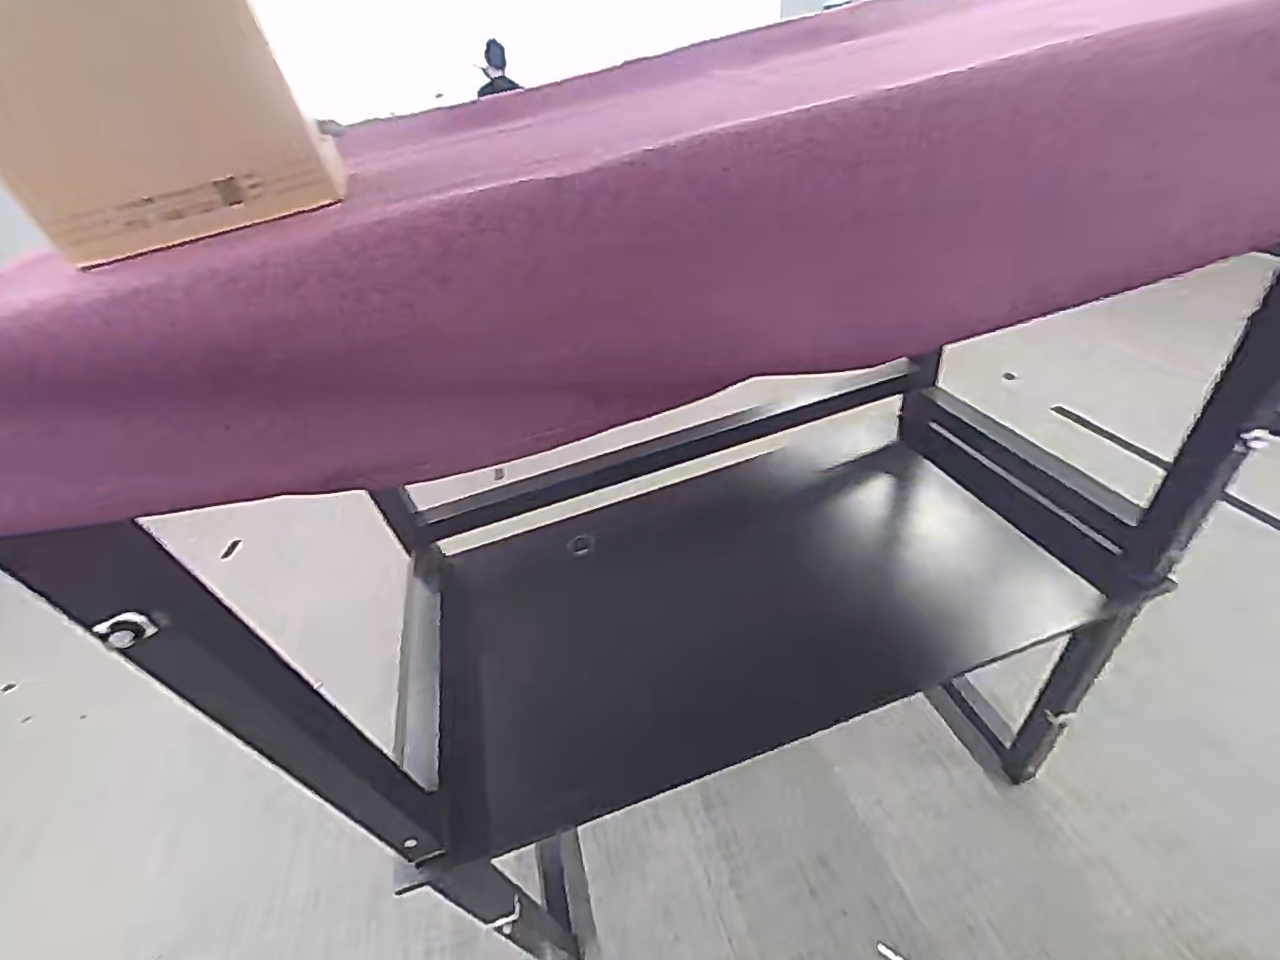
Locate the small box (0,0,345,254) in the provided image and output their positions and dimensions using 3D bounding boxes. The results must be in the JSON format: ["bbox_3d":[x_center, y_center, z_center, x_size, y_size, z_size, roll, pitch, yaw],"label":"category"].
[{"bbox_3d":[-0.321,-0.266,0.362,0.168,0.176,0.179,-23,39,-12],"label":"small box"}]
